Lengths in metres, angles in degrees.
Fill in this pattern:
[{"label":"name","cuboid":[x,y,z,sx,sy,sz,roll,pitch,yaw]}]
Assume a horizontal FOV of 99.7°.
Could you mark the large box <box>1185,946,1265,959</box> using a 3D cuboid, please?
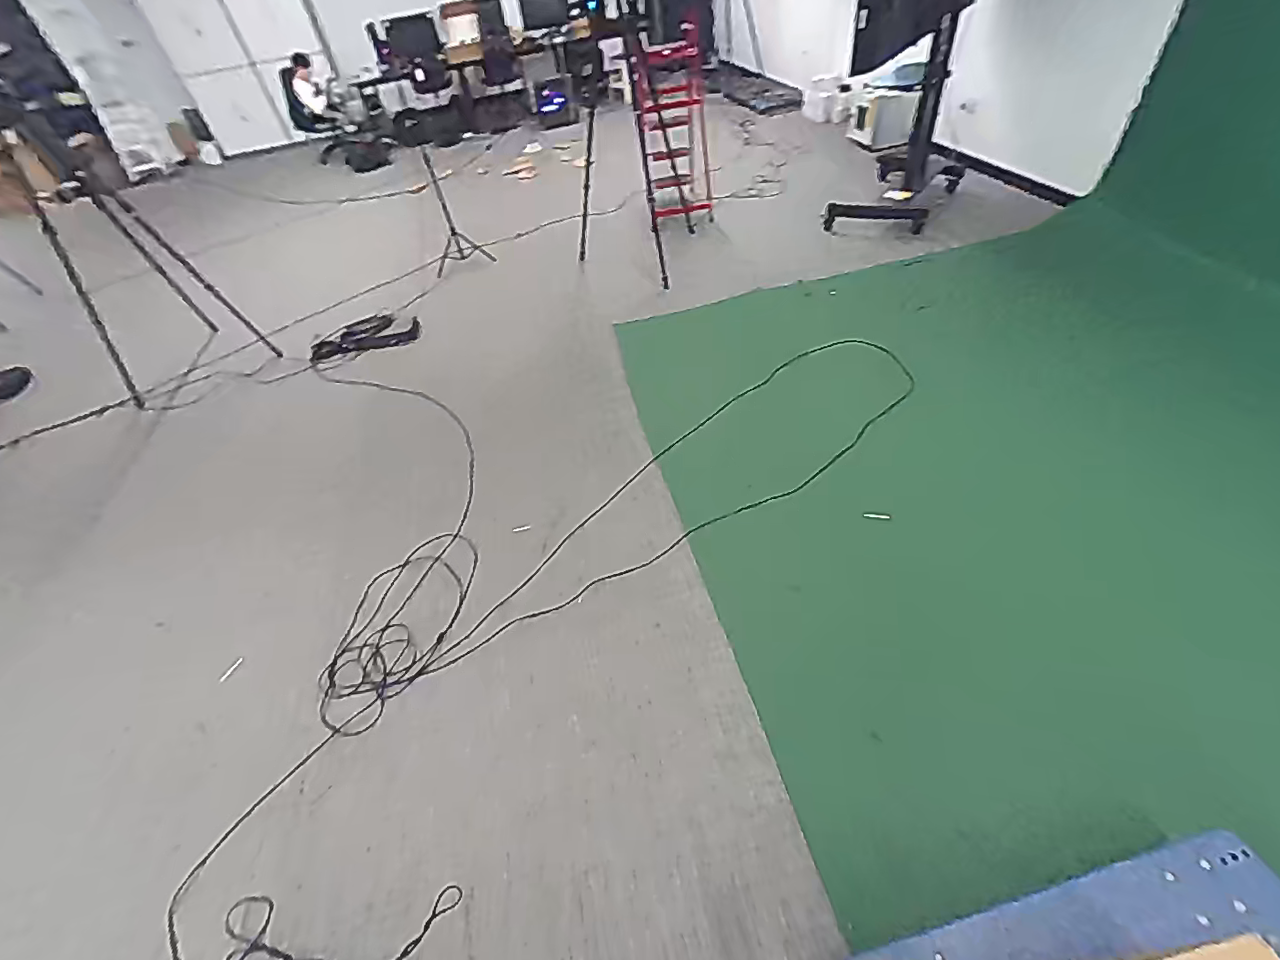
[{"label":"large box","cuboid":[0.748,0.930,0.767,0.408,0.320,0.320,-12,45,-4]}]
